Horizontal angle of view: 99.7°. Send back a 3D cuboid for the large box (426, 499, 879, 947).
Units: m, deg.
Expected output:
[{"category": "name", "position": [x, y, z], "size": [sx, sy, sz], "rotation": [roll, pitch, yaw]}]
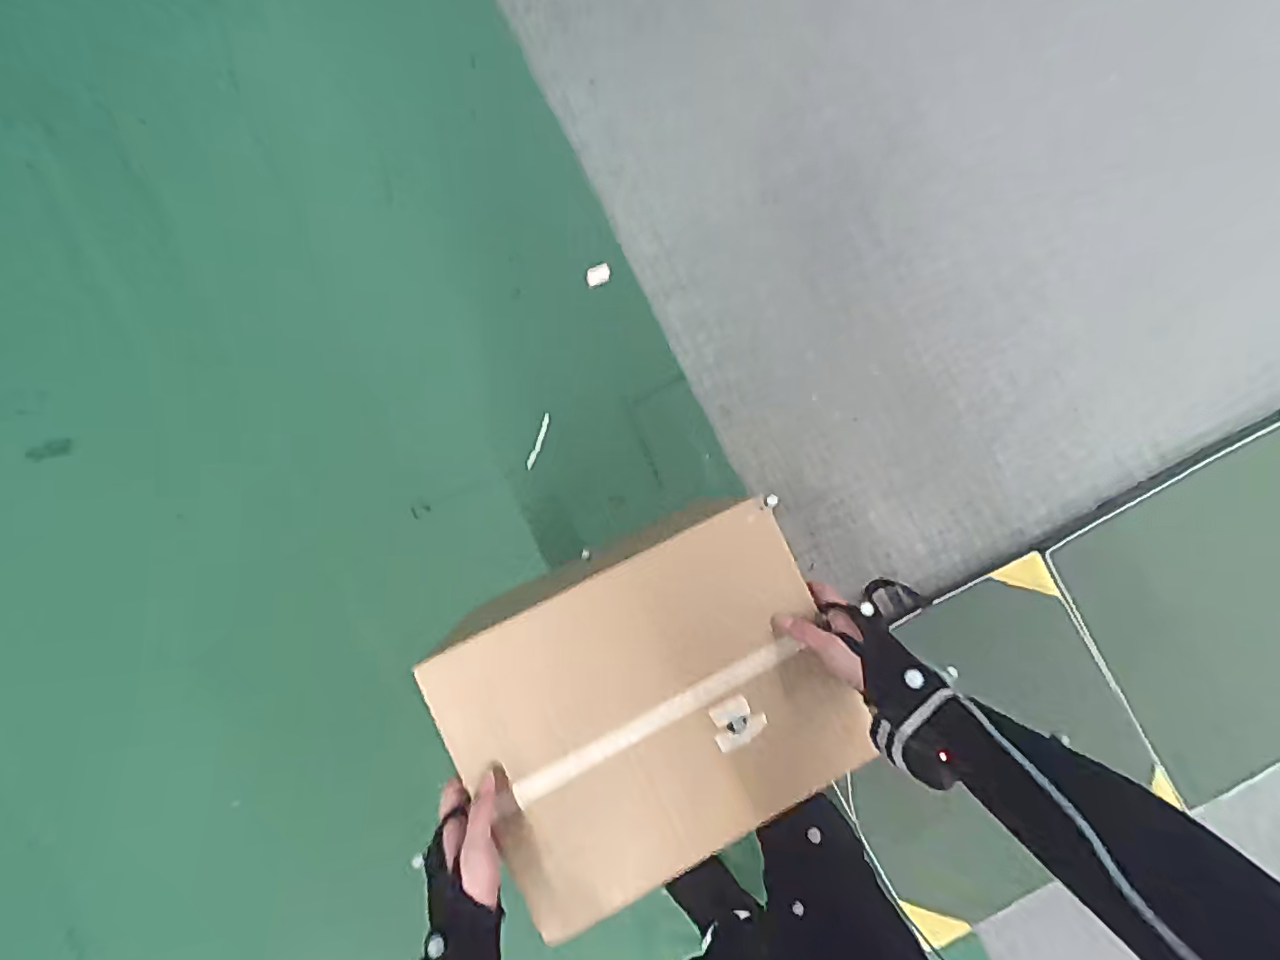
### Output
[{"category": "large box", "position": [0.004, 0.255, 0.713], "size": [0.408, 0.320, 0.320], "rotation": [-26, 90, -9]}]
